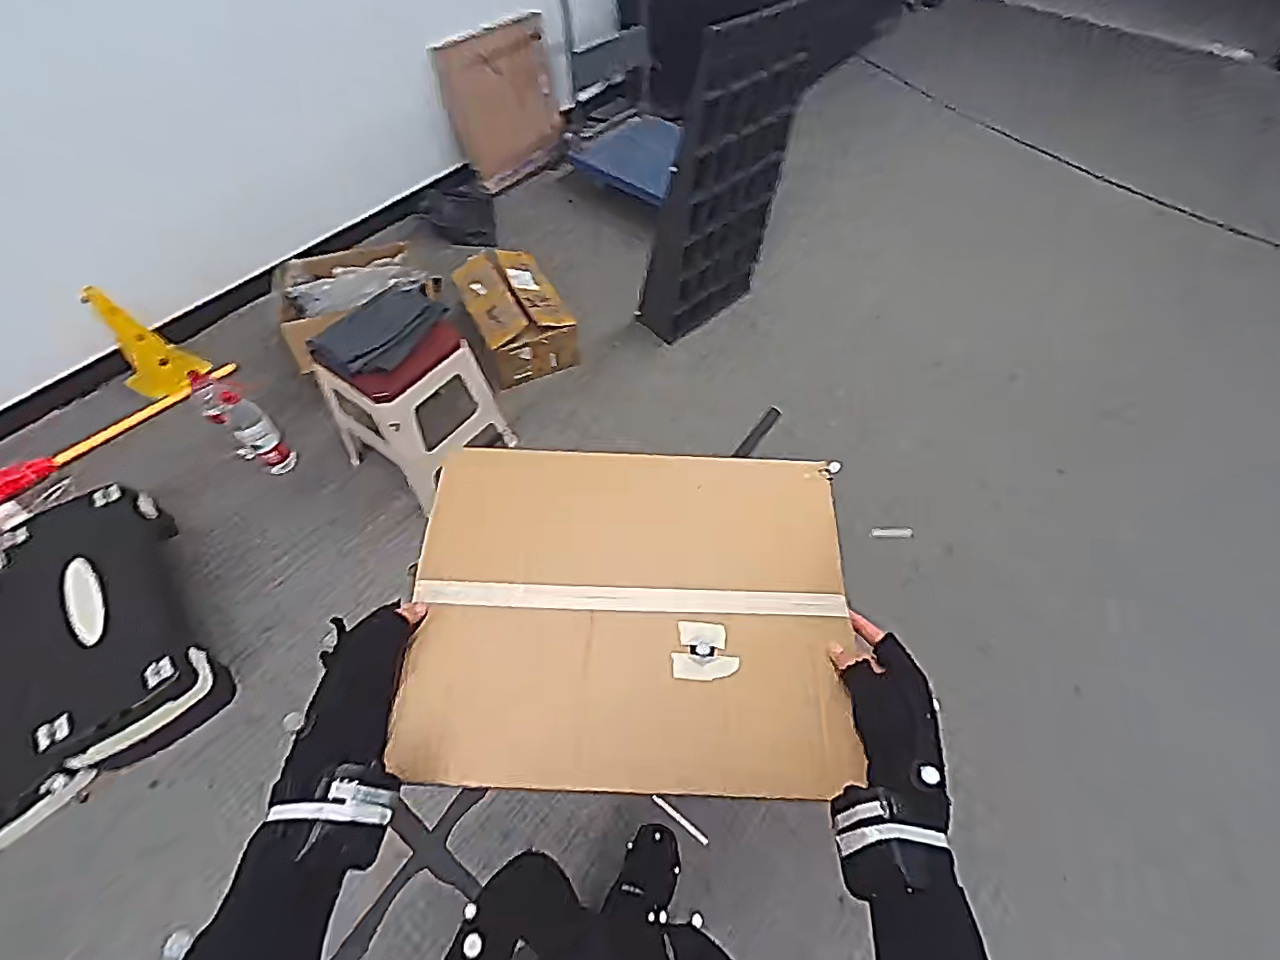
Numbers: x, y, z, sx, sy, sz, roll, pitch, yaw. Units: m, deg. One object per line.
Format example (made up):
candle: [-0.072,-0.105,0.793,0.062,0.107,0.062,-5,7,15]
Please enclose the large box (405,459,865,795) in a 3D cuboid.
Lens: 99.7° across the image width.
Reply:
large box: [-0.003,0.189,0.658,0.408,0.320,0.320,4,64,0]
